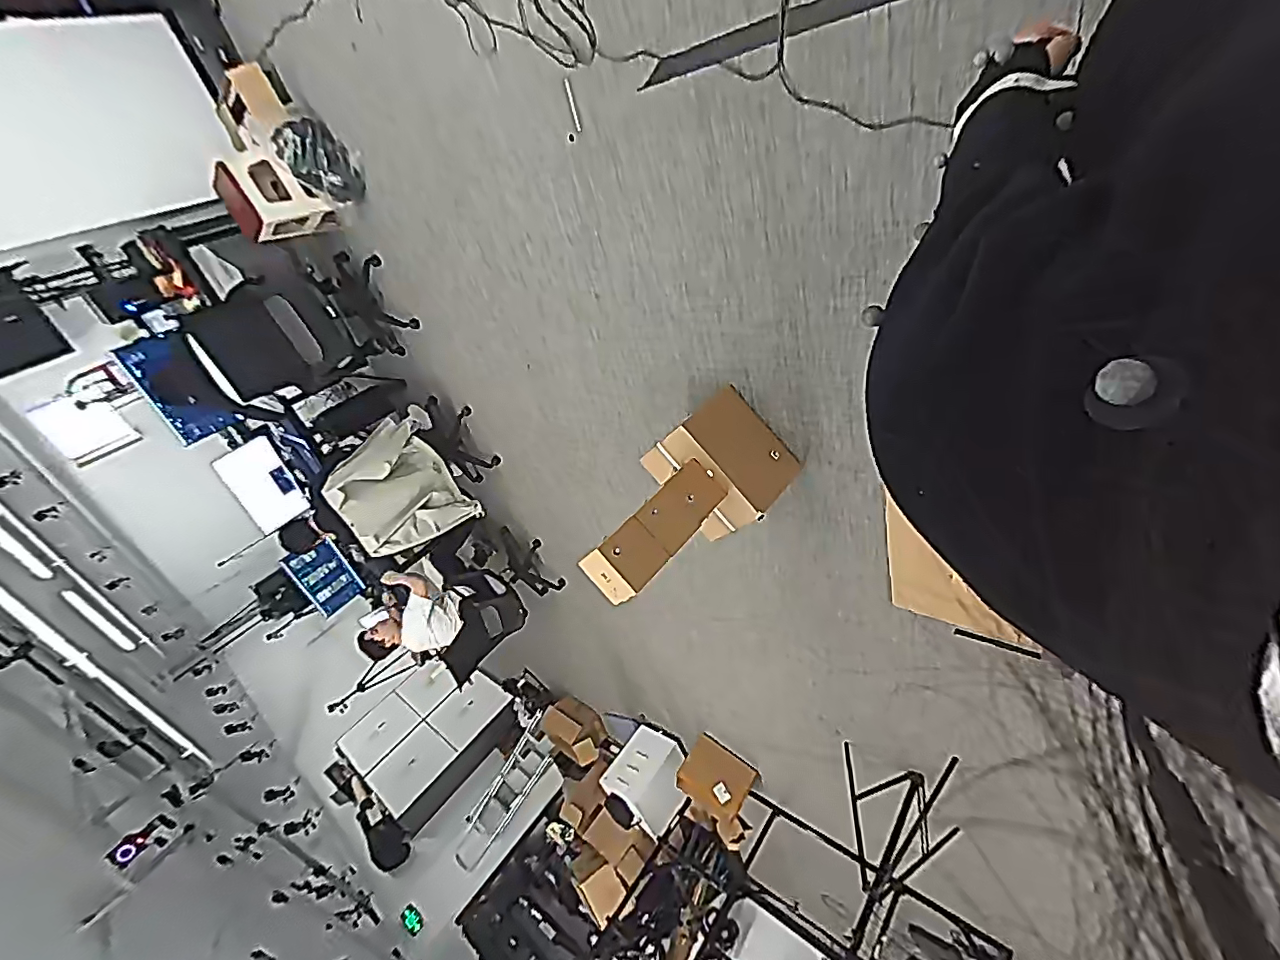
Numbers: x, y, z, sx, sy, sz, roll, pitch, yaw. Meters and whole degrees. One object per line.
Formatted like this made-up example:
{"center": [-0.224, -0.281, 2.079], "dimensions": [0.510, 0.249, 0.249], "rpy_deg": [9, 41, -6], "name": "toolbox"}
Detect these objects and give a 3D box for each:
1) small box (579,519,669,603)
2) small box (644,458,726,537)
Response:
{"center": [-0.047, 0.238, 1.628], "dimensions": [0.179, 0.176, 0.168], "rpy_deg": [48, 146, 1], "name": "small box"}
{"center": [0.154, 0.058, 1.817], "dimensions": [0.179, 0.176, 0.168], "rpy_deg": [48, 145, 2], "name": "small box"}
